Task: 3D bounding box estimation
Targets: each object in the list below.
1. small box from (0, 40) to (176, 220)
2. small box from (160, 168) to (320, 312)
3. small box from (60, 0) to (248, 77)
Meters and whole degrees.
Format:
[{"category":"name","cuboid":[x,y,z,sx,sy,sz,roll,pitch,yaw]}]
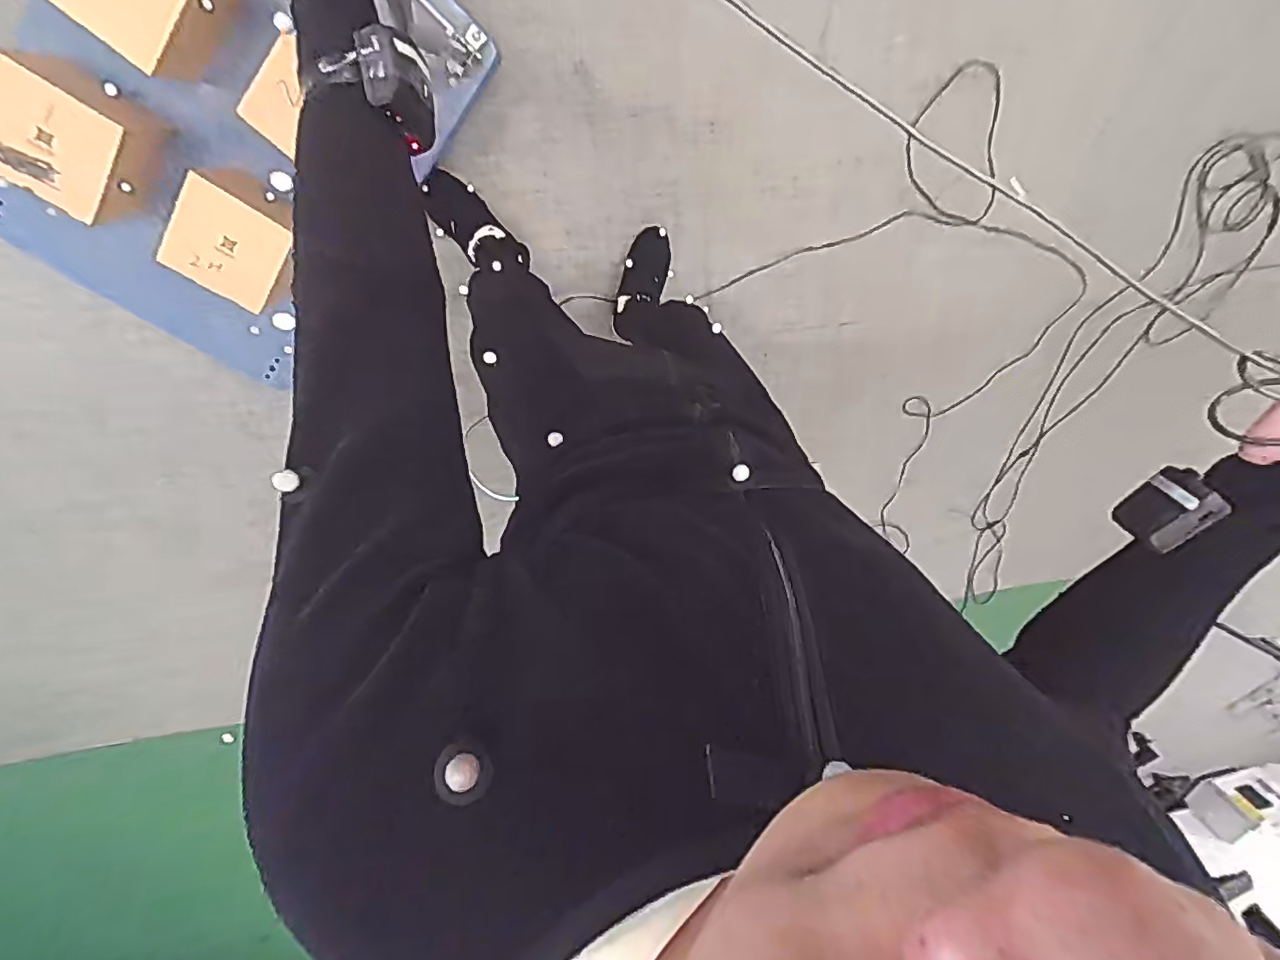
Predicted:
[{"category":"small box","cuboid":[-0.919,-0.565,0.889,0.168,0.176,0.179,31,110,-28]},{"category":"small box","cuboid":[-0.727,-0.451,1.005,0.168,0.176,0.179,31,111,-27]},{"category":"small box","cuboid":[-0.737,-0.750,0.812,0.168,0.176,0.179,36,108,-29]}]
